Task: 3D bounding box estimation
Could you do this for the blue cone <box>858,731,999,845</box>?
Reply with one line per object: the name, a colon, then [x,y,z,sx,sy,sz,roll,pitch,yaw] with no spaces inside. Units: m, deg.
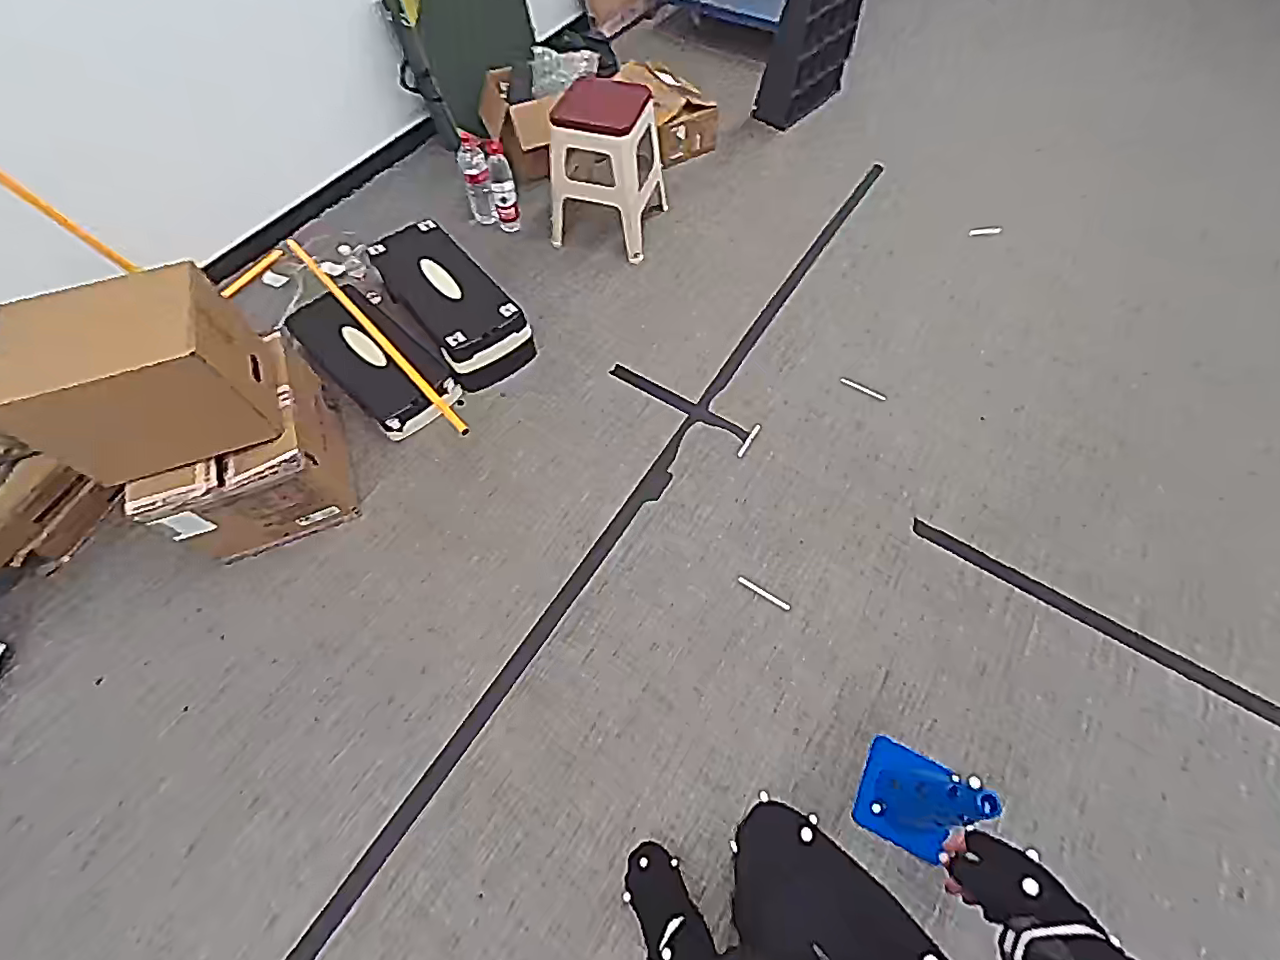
blue cone: [0.592,0.608,1.069,0.193,0.380,0.192,24,65,15]
